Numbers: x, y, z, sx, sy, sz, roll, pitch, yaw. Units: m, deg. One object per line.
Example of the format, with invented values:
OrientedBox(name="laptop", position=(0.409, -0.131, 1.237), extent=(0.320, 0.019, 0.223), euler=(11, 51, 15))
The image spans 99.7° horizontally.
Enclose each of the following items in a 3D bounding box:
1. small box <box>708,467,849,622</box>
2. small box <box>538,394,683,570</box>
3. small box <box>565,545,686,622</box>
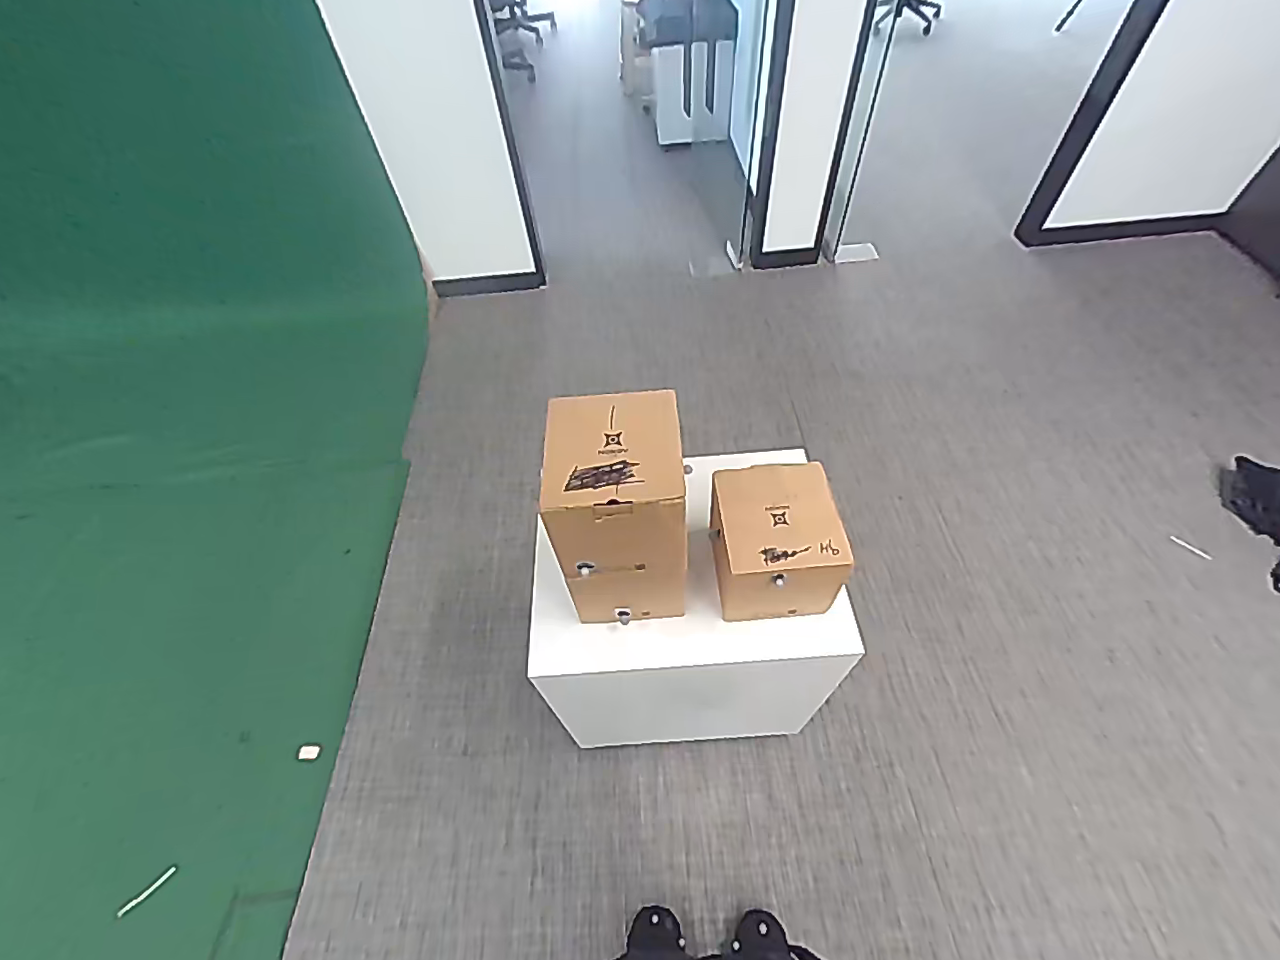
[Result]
OrientedBox(name="small box", position=(0.199, 0.101, 0.836), extent=(0.168, 0.176, 0.179), euler=(-4, 52, 1))
OrientedBox(name="small box", position=(-0.030, 0.011, 0.718), extent=(0.168, 0.176, 0.179), euler=(-3, 51, 2))
OrientedBox(name="small box", position=(-0.022, 0.101, 0.836), extent=(0.168, 0.176, 0.179), euler=(-6, 54, 0))
